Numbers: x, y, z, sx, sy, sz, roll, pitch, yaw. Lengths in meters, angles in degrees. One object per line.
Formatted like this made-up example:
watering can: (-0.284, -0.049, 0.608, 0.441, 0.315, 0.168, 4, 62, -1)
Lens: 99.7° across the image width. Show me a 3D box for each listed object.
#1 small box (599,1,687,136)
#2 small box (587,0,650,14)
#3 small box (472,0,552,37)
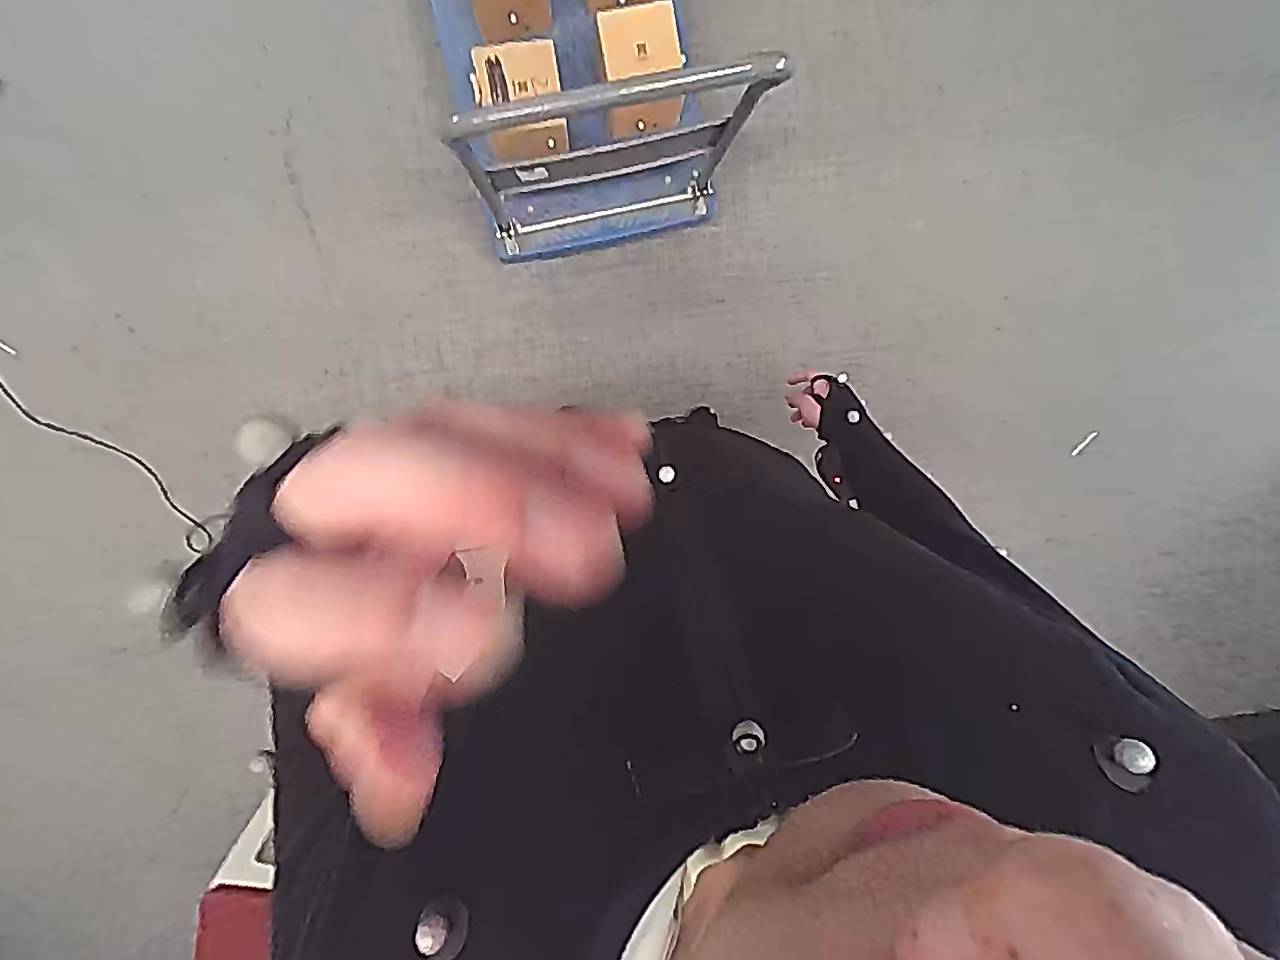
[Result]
small box: (0.001, -0.920, 1.223, 0.168, 0.176, 0.179, -12, 100, -2)
small box: (-0.055, -1.180, 1.175, 0.168, 0.176, 0.179, -16, 101, 0)
small box: (-0.297, -1.109, 1.171, 0.168, 0.176, 0.179, -16, 100, -2)
